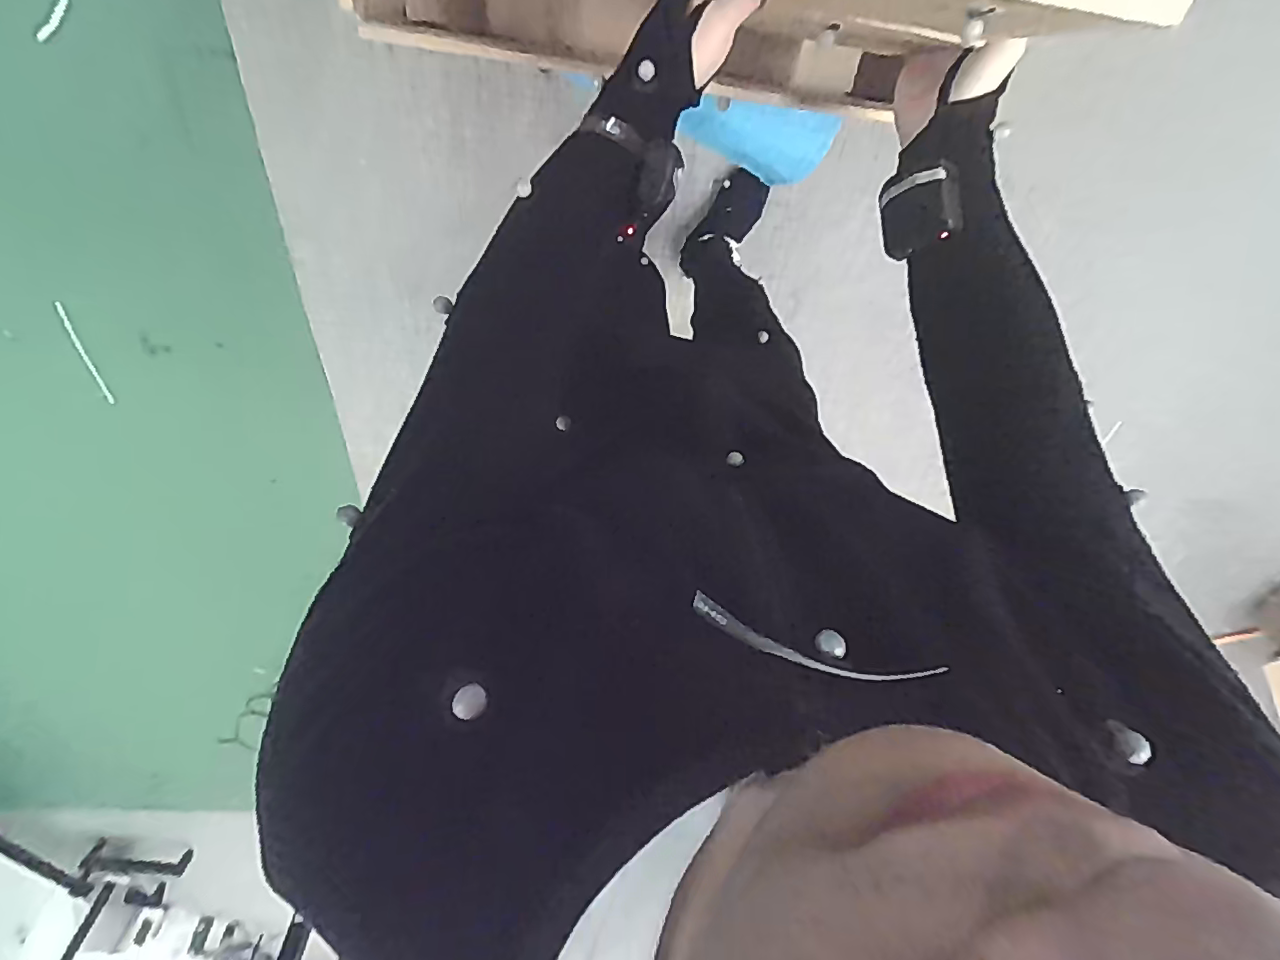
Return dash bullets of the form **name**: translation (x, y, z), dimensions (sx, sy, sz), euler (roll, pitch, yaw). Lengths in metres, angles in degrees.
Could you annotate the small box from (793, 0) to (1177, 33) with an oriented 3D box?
- **small box**: translation (0.196, -0.360, 0.292), dimensions (0.179, 0.176, 0.168), euler (2, 127, -8)
